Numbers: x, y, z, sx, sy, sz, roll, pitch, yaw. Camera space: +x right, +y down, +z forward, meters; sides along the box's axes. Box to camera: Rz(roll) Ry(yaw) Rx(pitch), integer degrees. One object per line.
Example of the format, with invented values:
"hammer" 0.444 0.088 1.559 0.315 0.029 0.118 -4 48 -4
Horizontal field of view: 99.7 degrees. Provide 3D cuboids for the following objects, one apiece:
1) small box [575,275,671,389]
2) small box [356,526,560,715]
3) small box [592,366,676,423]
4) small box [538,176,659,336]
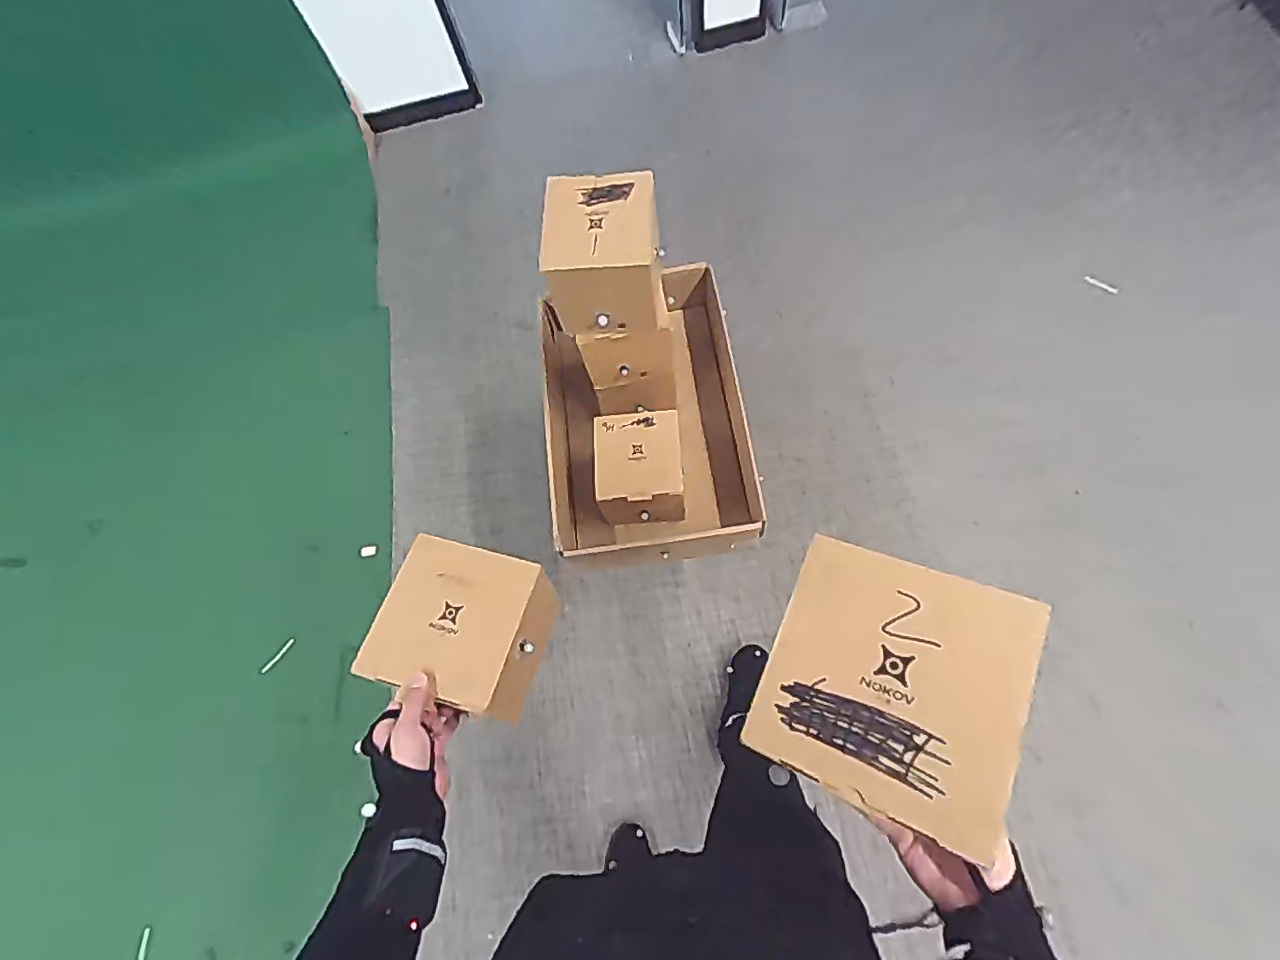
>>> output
"small box" -0.035 -0.298 1.033 0.168 0.176 0.179 -10 70 3
"small box" -0.214 0.188 0.697 0.168 0.176 0.179 13 61 9
"small box" -0.017 -0.247 1.185 0.168 0.176 0.179 -10 70 4
"small box" -0.058 -0.357 0.880 0.168 0.176 0.179 -1 72 6
